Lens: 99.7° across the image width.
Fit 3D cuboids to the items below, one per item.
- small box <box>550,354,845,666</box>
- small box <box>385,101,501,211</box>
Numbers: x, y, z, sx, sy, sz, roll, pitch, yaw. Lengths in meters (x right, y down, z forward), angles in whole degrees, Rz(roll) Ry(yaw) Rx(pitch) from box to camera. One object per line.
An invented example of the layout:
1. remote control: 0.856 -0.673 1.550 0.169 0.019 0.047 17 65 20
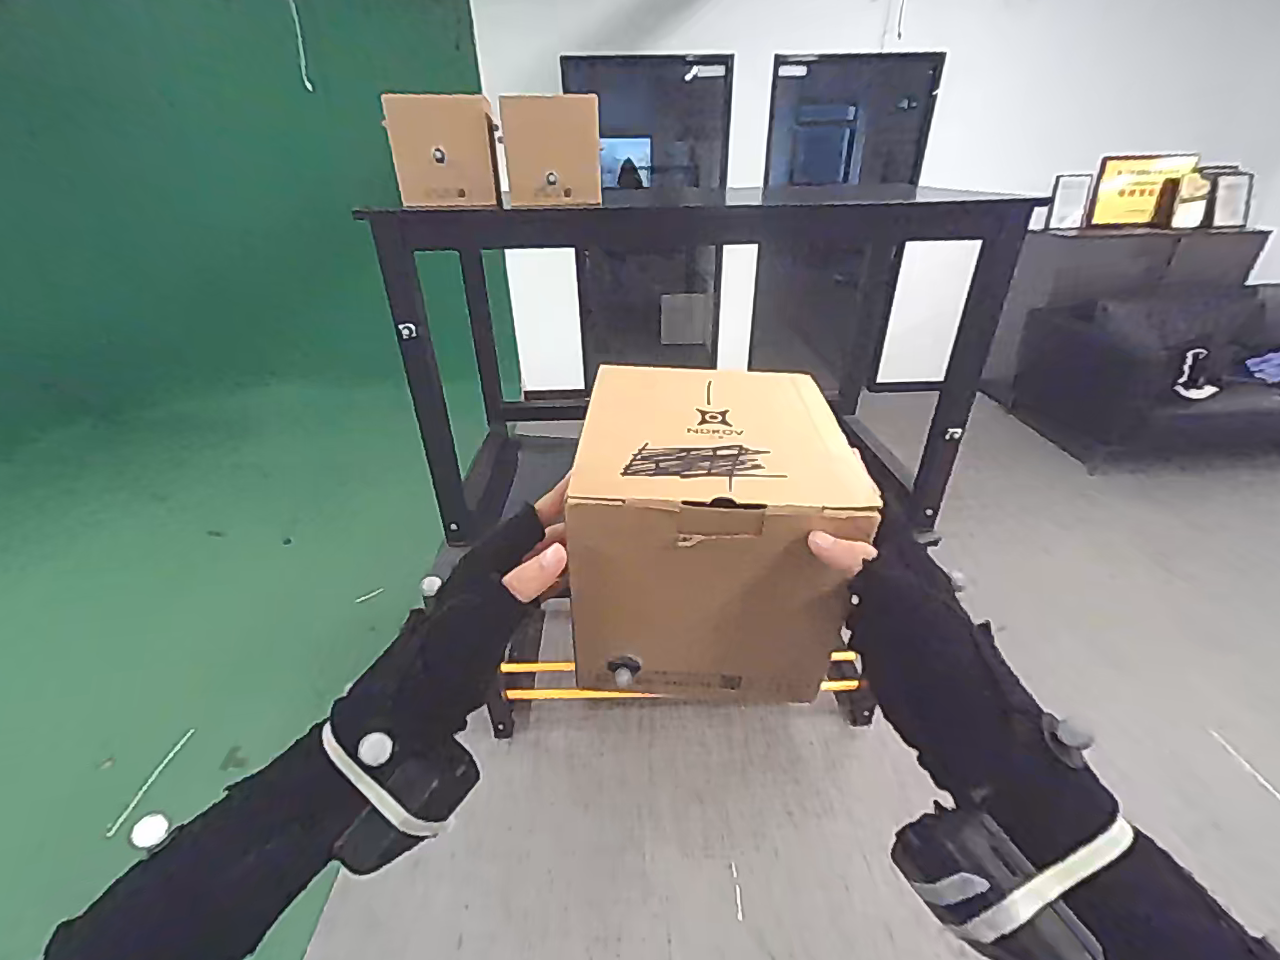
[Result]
1. small box: 0.035 0.017 0.406 0.168 0.176 0.179 3 33 1
2. small box: -0.361 -0.609 1.027 0.168 0.176 0.179 -4 30 -8
